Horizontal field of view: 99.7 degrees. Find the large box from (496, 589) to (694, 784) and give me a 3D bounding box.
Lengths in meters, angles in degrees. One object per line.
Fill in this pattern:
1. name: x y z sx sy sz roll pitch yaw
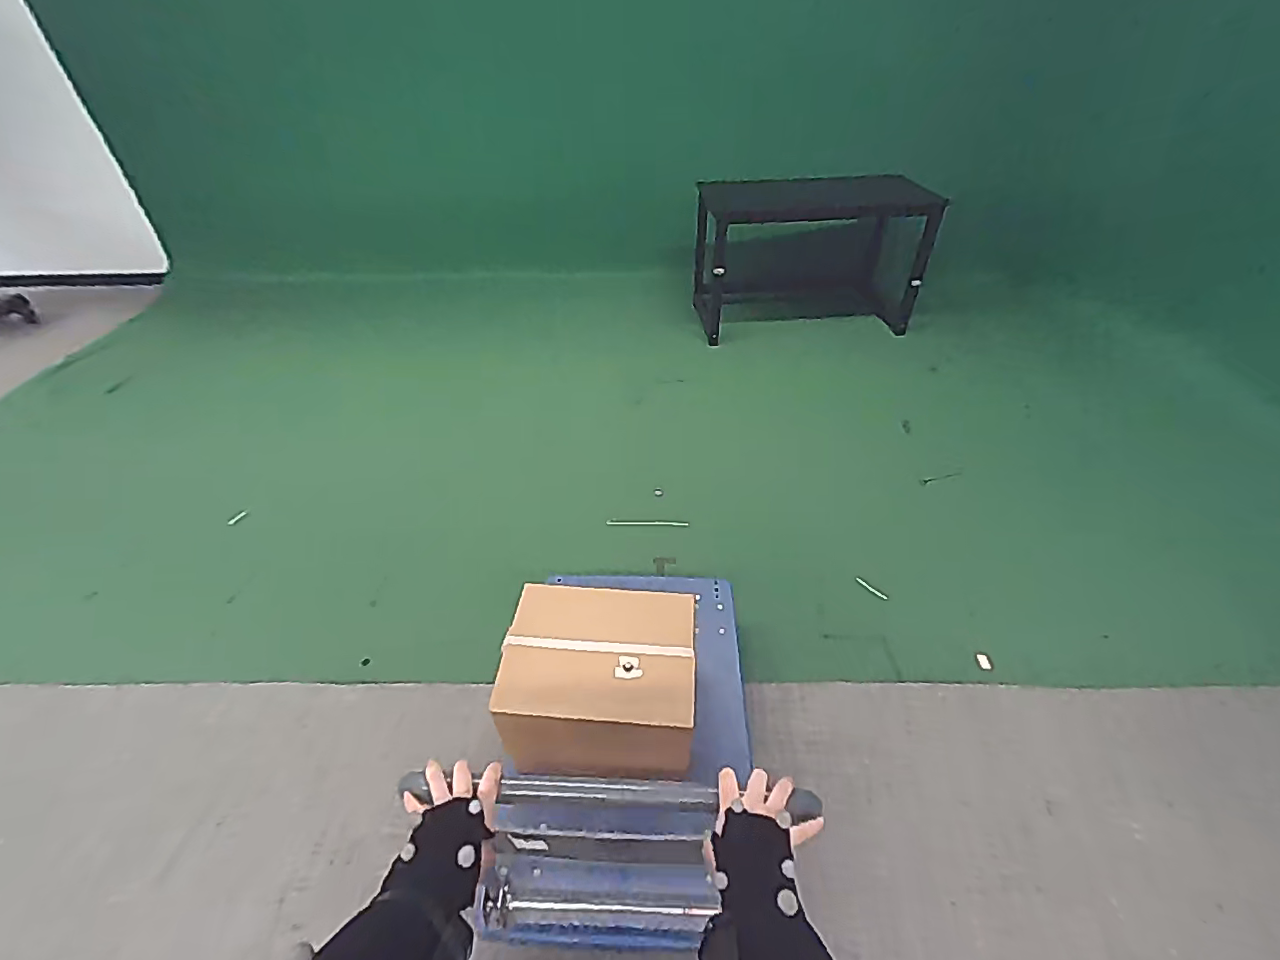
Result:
1. large box: -0.085 0.483 1.272 0.408 0.320 0.320 3 41 3
